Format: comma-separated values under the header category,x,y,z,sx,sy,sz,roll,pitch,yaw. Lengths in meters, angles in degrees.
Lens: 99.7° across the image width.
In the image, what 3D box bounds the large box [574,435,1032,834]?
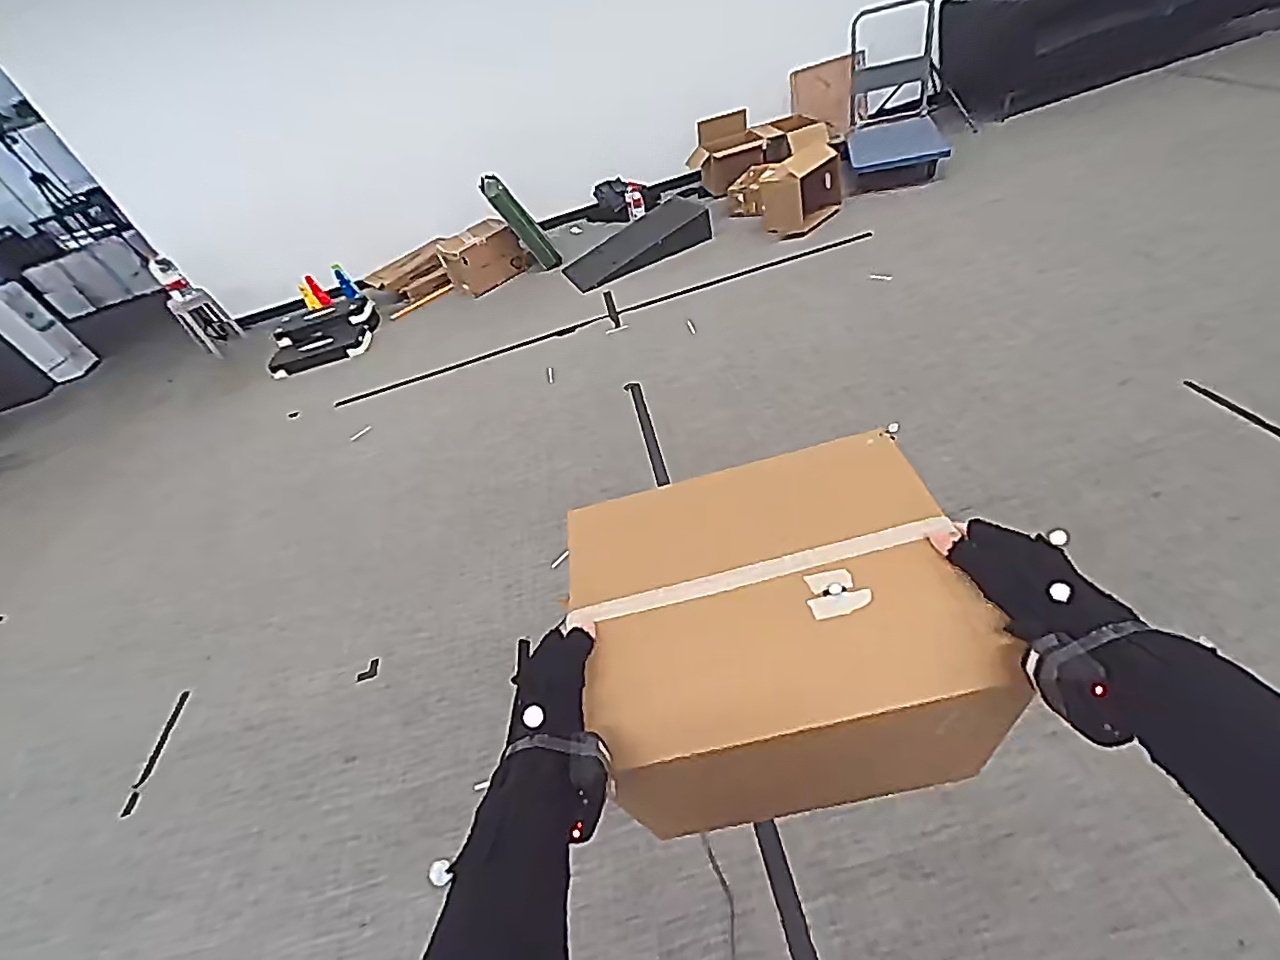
category,x,y,z,sx,sy,sz,roll,pitch,yaw
large box,0.160,0.200,0.682,0.408,0.320,0.320,-15,46,4
